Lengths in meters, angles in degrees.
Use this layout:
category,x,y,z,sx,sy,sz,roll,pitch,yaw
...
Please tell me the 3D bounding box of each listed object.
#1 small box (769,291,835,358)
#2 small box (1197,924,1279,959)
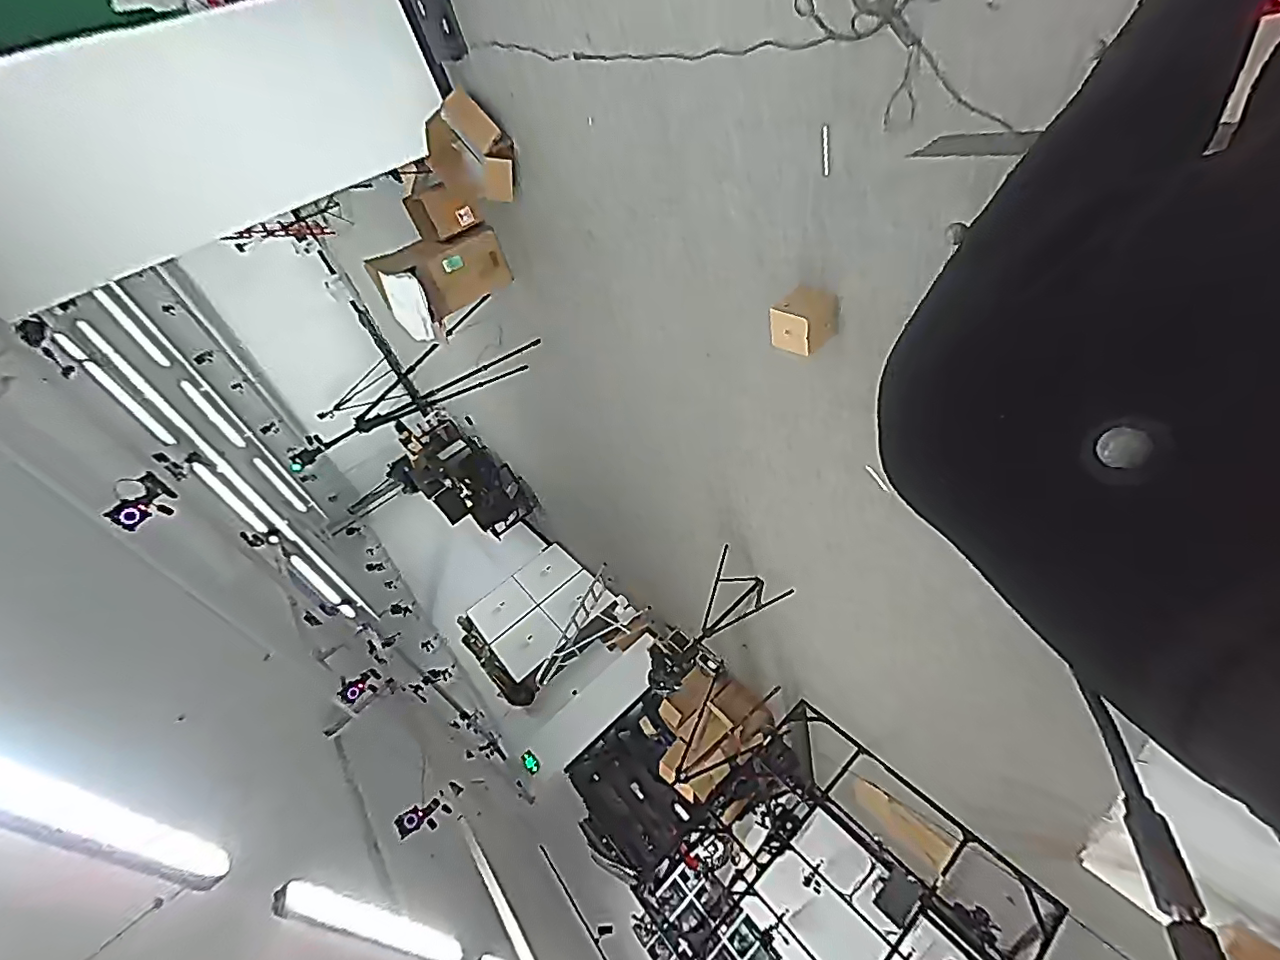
category,x,y,z,sx,sy,sz,roll,pitch,yaw
small box,0.615,-0.598,2.058,0.179,0.176,0.168,34,154,39
small box,1.618,1.325,1.426,0.168,0.176,0.179,32,152,41
